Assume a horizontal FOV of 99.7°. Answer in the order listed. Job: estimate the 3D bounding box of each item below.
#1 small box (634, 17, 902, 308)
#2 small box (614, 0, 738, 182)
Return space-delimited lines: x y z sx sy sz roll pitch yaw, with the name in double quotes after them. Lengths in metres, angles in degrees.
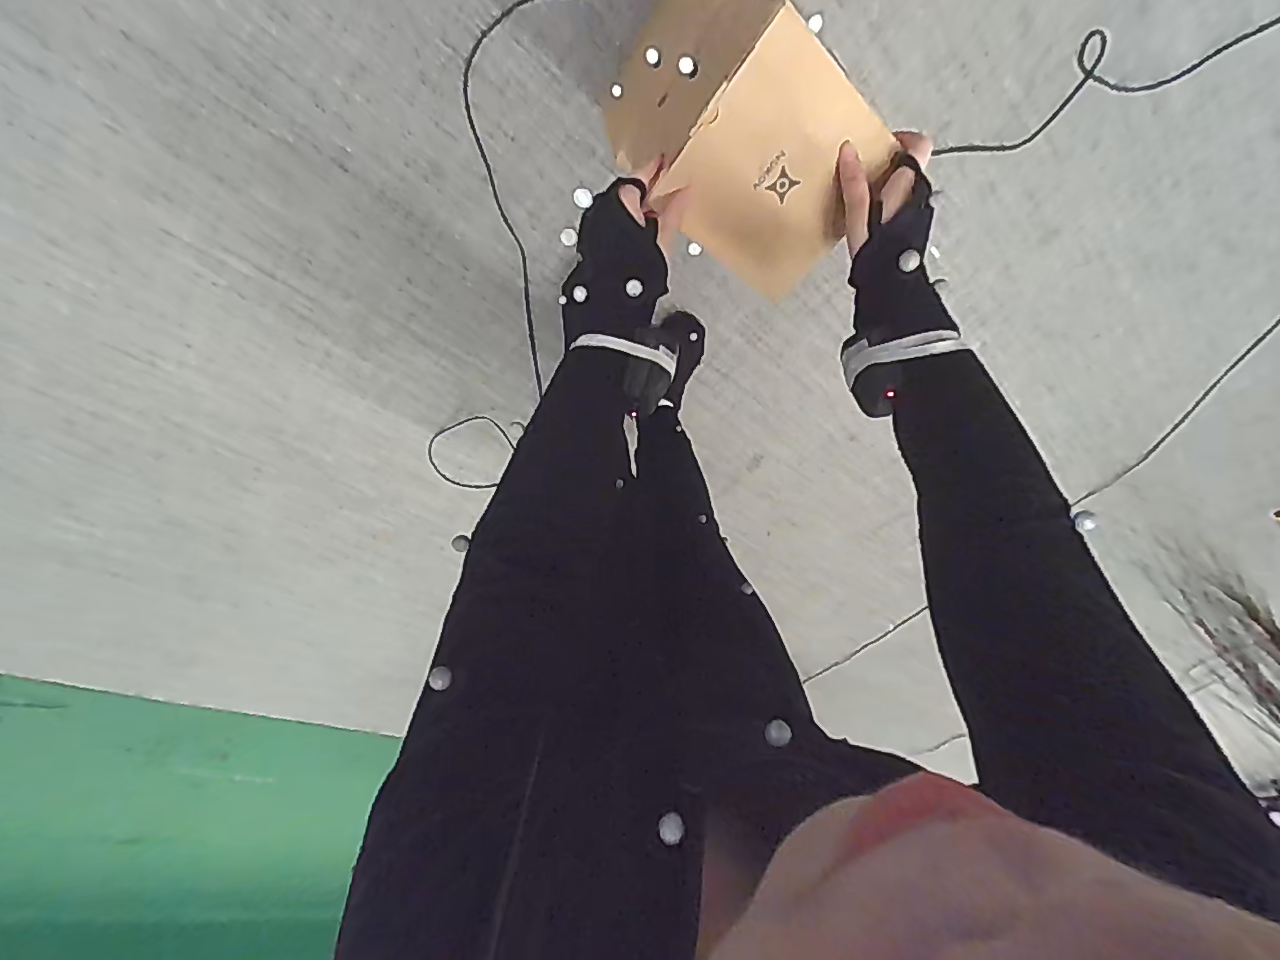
0.111 -0.314 0.535 0.179 0.176 0.168 26 125 -27 "small box"
0.082 -0.426 0.650 0.168 0.176 0.179 25 125 -28 "small box"
